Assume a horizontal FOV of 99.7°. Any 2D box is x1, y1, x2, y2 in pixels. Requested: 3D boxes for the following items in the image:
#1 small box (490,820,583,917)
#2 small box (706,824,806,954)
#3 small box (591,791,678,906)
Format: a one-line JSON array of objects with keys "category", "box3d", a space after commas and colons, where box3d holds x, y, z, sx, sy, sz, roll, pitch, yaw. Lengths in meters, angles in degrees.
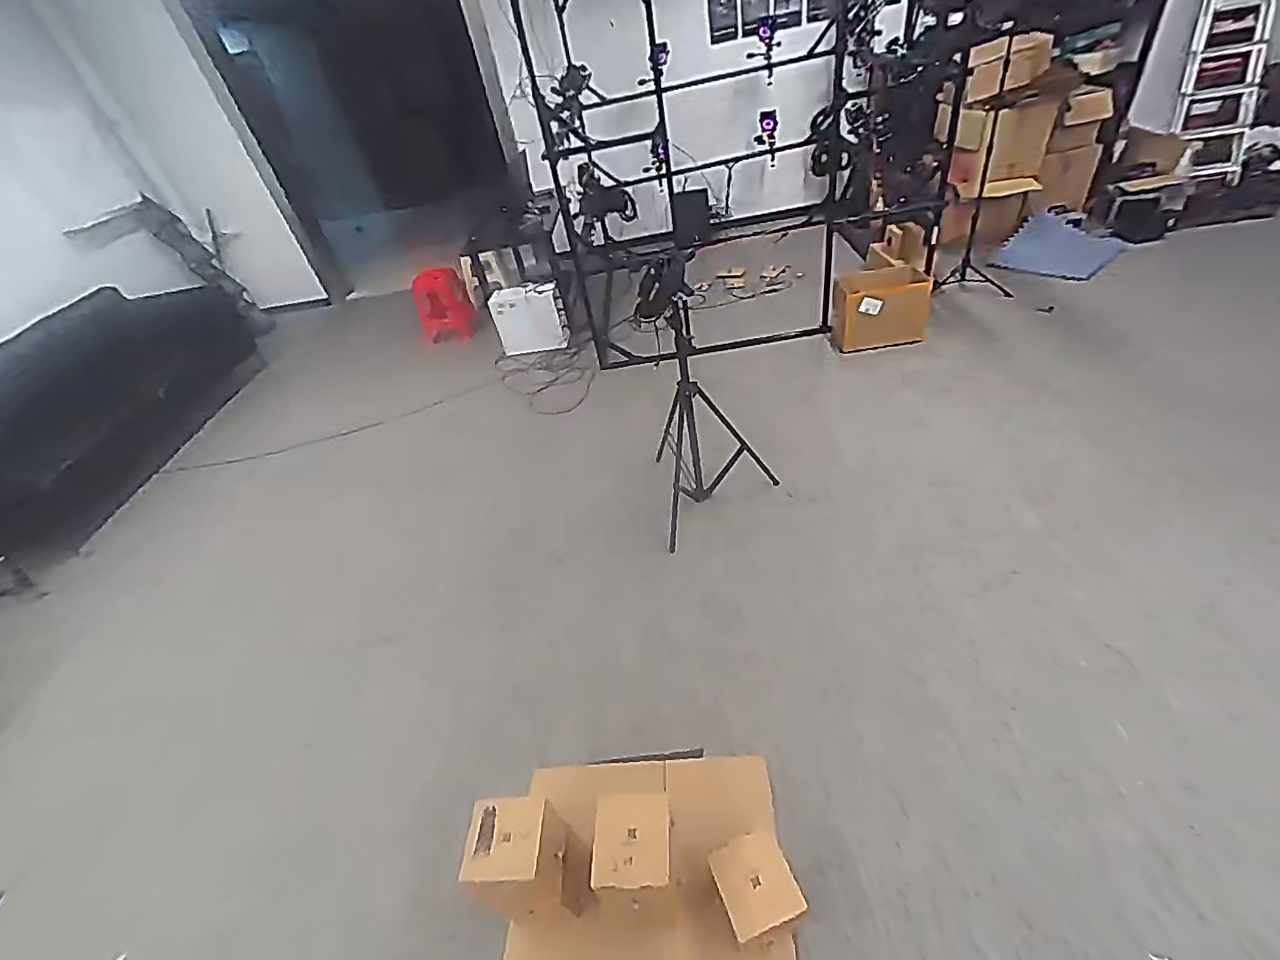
[{"category": "small box", "box3d": [-0.251, 0.979, 1.361, 0.179, 0.176, 0.168, -8, 40, 8]}, {"category": "small box", "box3d": [0.268, 0.952, 1.259, 0.168, 0.176, 0.179, -21, 39, -8]}, {"category": "small box", "box3d": [-0.006, 0.829, 1.218, 0.168, 0.176, 0.179, -5, 41, 8]}]
